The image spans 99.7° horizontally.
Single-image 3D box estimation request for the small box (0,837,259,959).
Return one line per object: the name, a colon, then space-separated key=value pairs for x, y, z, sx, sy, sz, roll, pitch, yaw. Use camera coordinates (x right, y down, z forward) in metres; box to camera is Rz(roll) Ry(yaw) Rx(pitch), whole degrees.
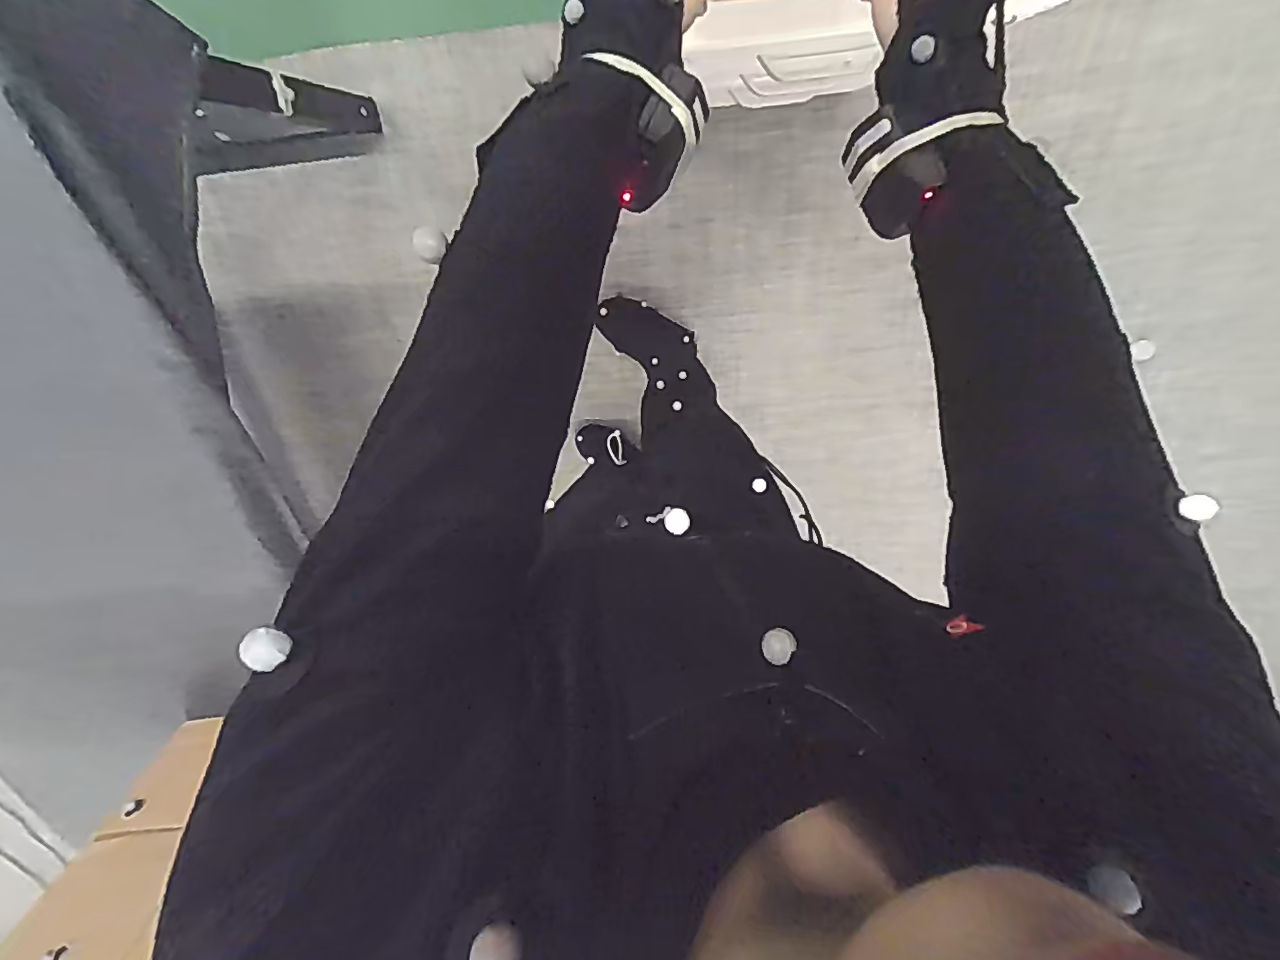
small box: x=-0.575 y=0.528 z=0.603 sx=0.179 sy=0.176 sz=0.168 roll=-9 pitch=118 yaw=7
